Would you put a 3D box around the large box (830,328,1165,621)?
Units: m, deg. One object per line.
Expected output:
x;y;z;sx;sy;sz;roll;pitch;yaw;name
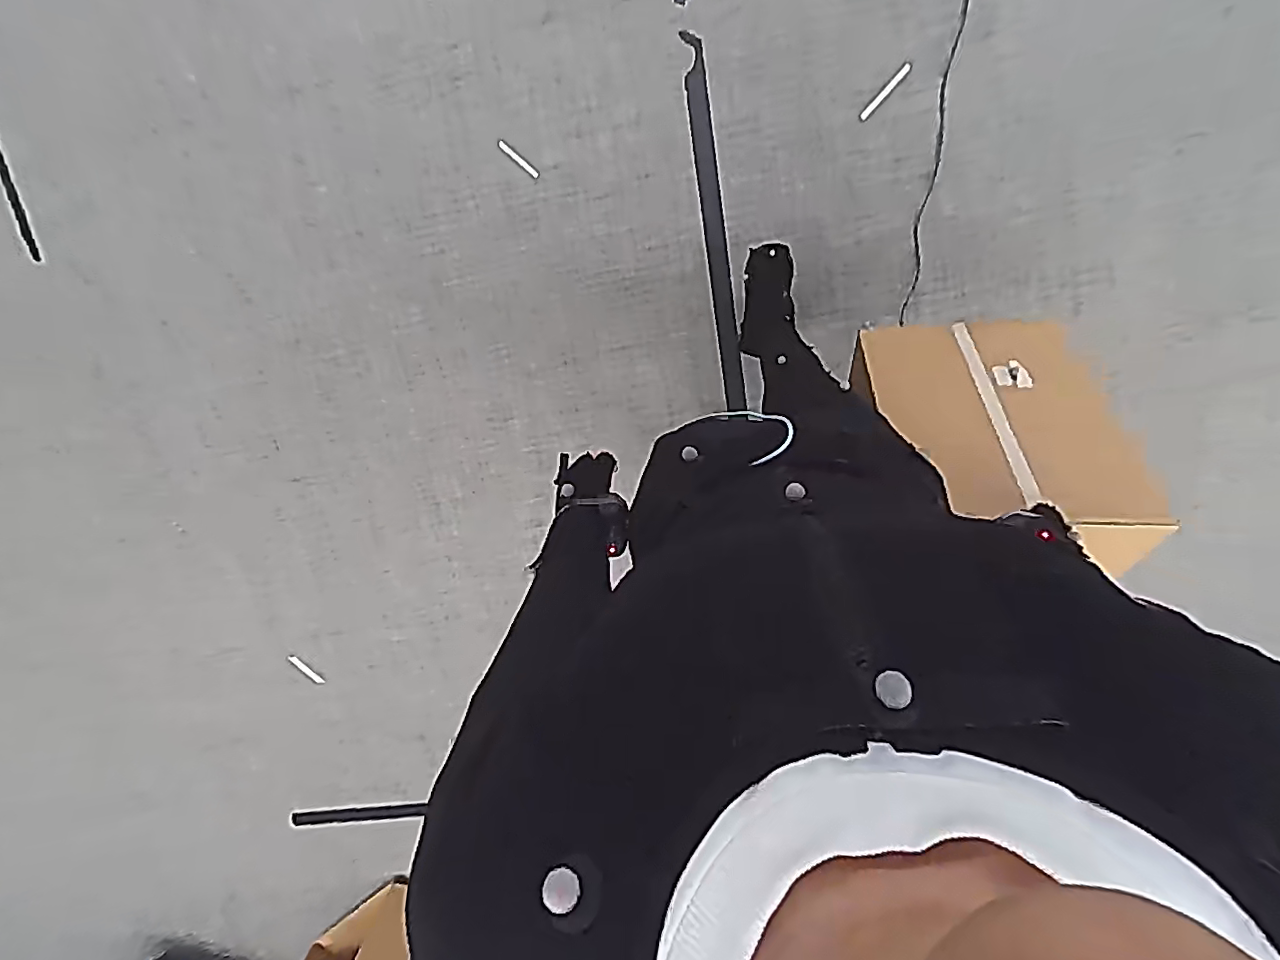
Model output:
0.530;-0.008;0.922;0.320;0.408;0.320;0;140;7;large box
